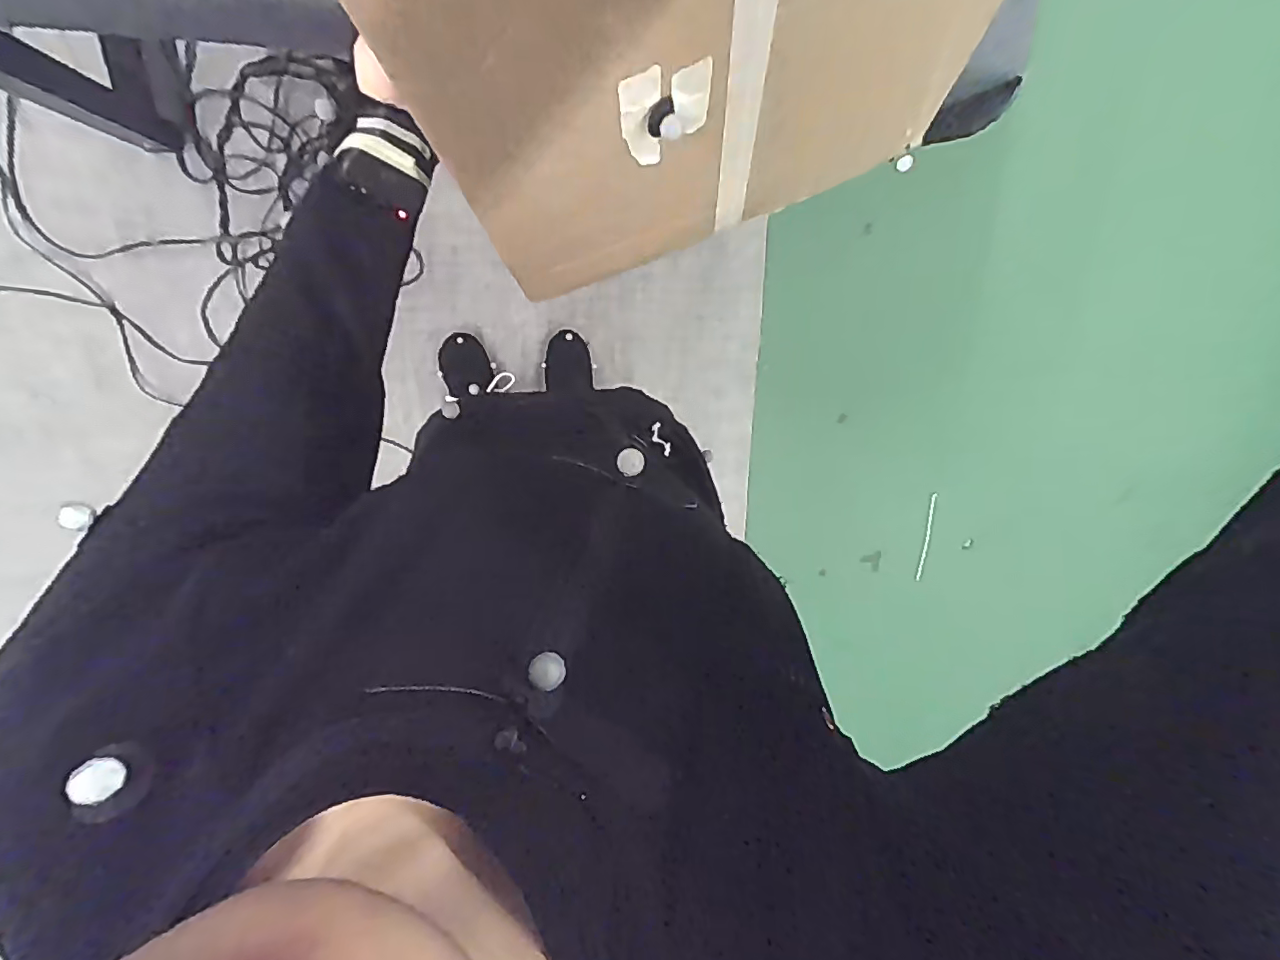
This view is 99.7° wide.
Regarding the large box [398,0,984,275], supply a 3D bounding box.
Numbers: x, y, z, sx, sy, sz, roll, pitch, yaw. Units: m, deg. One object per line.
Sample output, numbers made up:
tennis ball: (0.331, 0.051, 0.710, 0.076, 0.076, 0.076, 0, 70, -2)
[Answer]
large box: (-0.002, -0.371, 0.235, 0.320, 0.408, 0.320, -22, 83, 2)
